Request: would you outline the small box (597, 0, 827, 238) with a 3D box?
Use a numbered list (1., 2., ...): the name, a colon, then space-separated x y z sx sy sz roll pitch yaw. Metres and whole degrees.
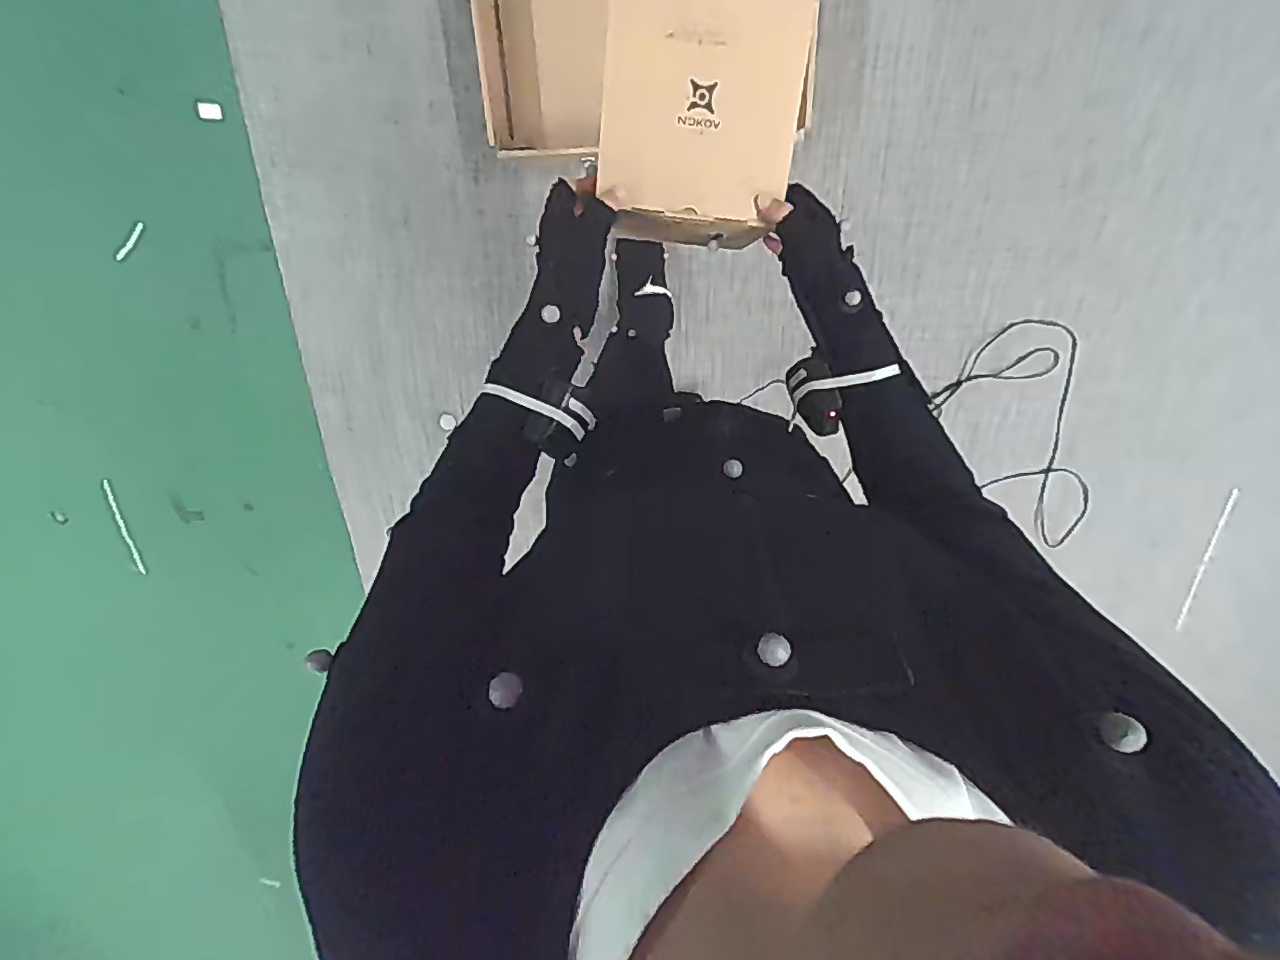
1. small box: 0.054 -0.335 0.503 0.168 0.176 0.179 5 106 -3
